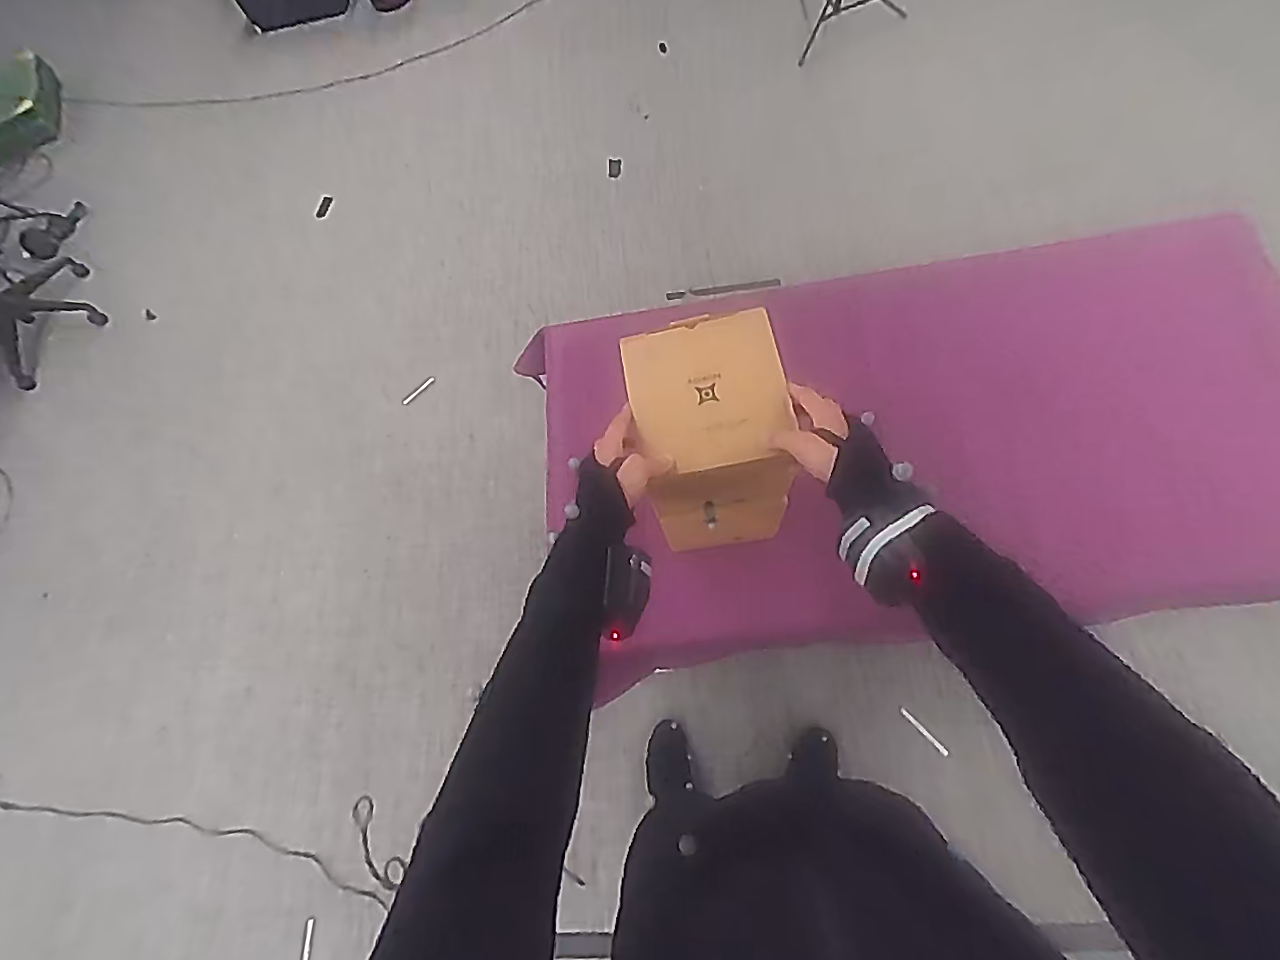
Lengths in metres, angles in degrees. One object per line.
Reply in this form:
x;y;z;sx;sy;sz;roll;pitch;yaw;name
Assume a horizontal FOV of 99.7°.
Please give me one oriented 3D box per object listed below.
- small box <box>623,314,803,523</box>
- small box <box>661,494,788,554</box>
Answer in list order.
0.081;-0.063;0.642;0.168;0.176;0.179;-11;70;5;small box
0.109;-0.005;0.793;0.168;0.176;0.179;-9;68;5;small box
